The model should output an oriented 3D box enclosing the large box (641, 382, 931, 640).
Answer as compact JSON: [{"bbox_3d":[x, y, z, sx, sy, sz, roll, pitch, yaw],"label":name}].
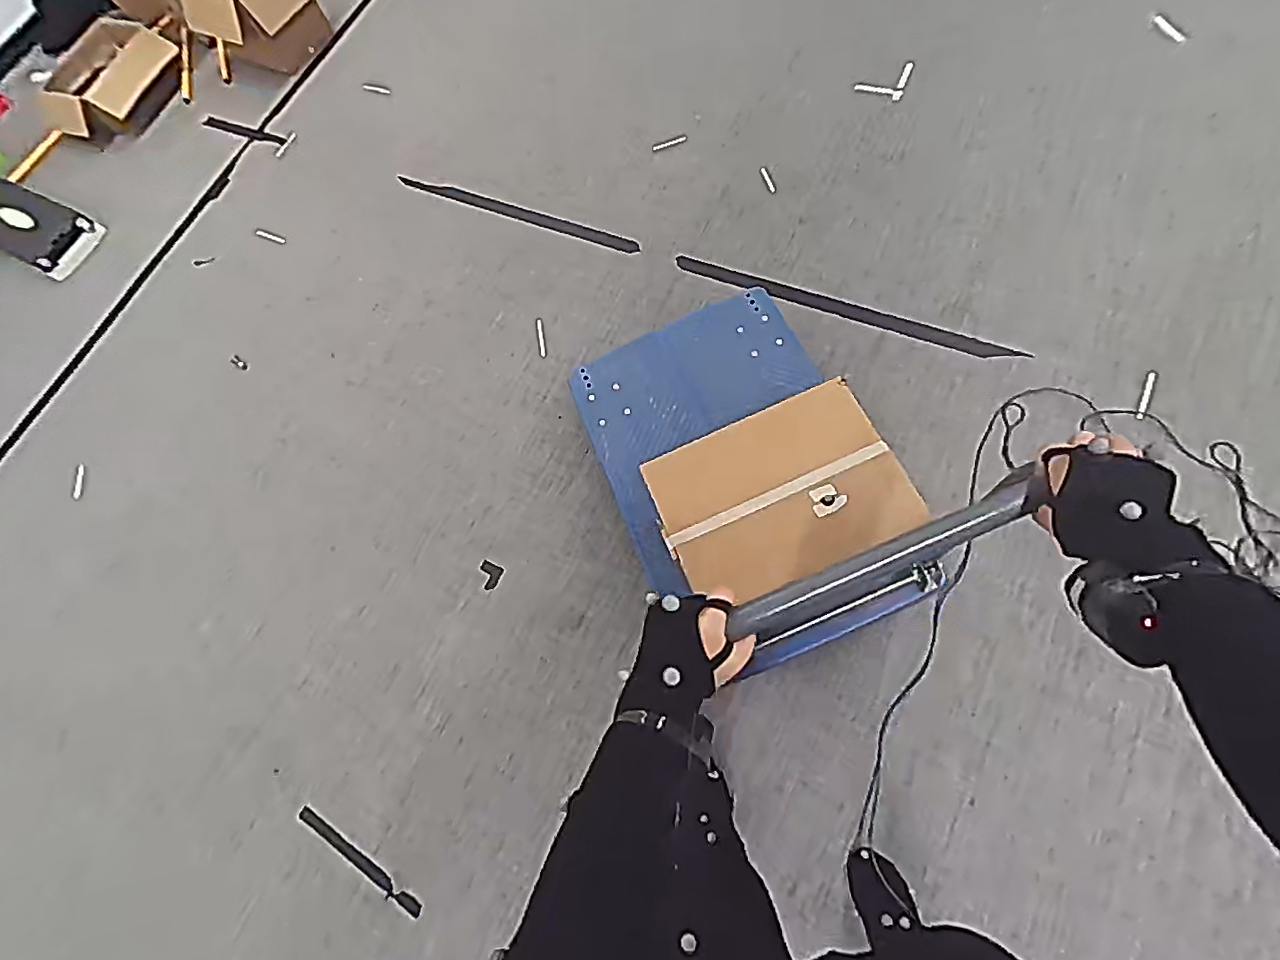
[{"bbox_3d":[0.259,0.082,1.064,0.408,0.320,0.320,-24,69,1],"label":"large box"}]
